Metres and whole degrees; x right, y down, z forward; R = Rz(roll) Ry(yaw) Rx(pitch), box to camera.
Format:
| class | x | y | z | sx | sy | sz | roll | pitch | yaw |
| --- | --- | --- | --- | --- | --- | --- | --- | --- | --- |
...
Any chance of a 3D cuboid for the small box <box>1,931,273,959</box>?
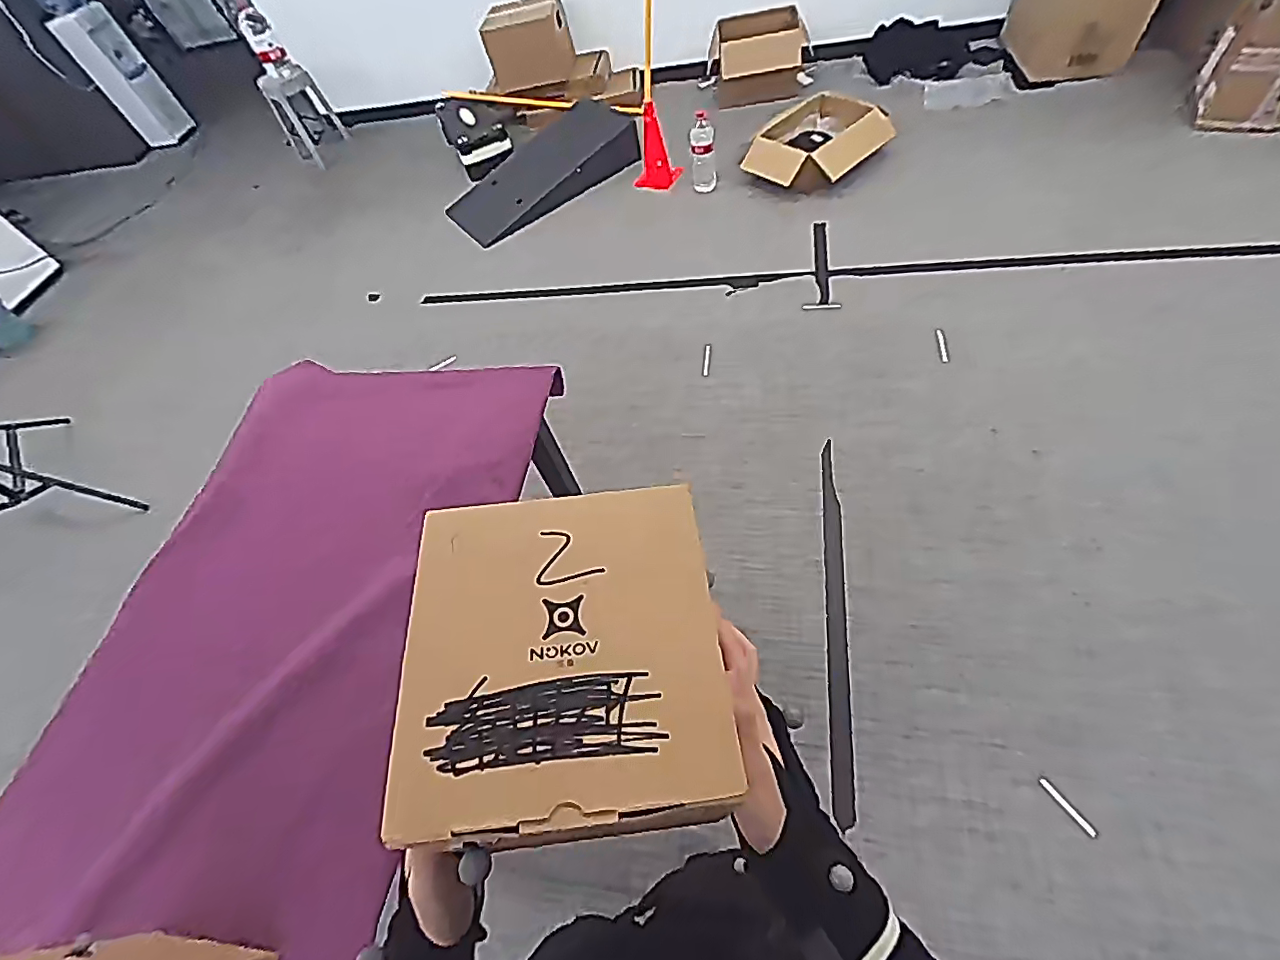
| class | x | y | z | sx | sy | sz | roll | pitch | yaw |
| --- | --- | --- | --- | --- | --- | --- | --- | --- | --- |
| small box | -0.512 | 0.555 | 0.516 | 0.179 | 0.176 | 0.168 | -1 | 58 | 11 |
